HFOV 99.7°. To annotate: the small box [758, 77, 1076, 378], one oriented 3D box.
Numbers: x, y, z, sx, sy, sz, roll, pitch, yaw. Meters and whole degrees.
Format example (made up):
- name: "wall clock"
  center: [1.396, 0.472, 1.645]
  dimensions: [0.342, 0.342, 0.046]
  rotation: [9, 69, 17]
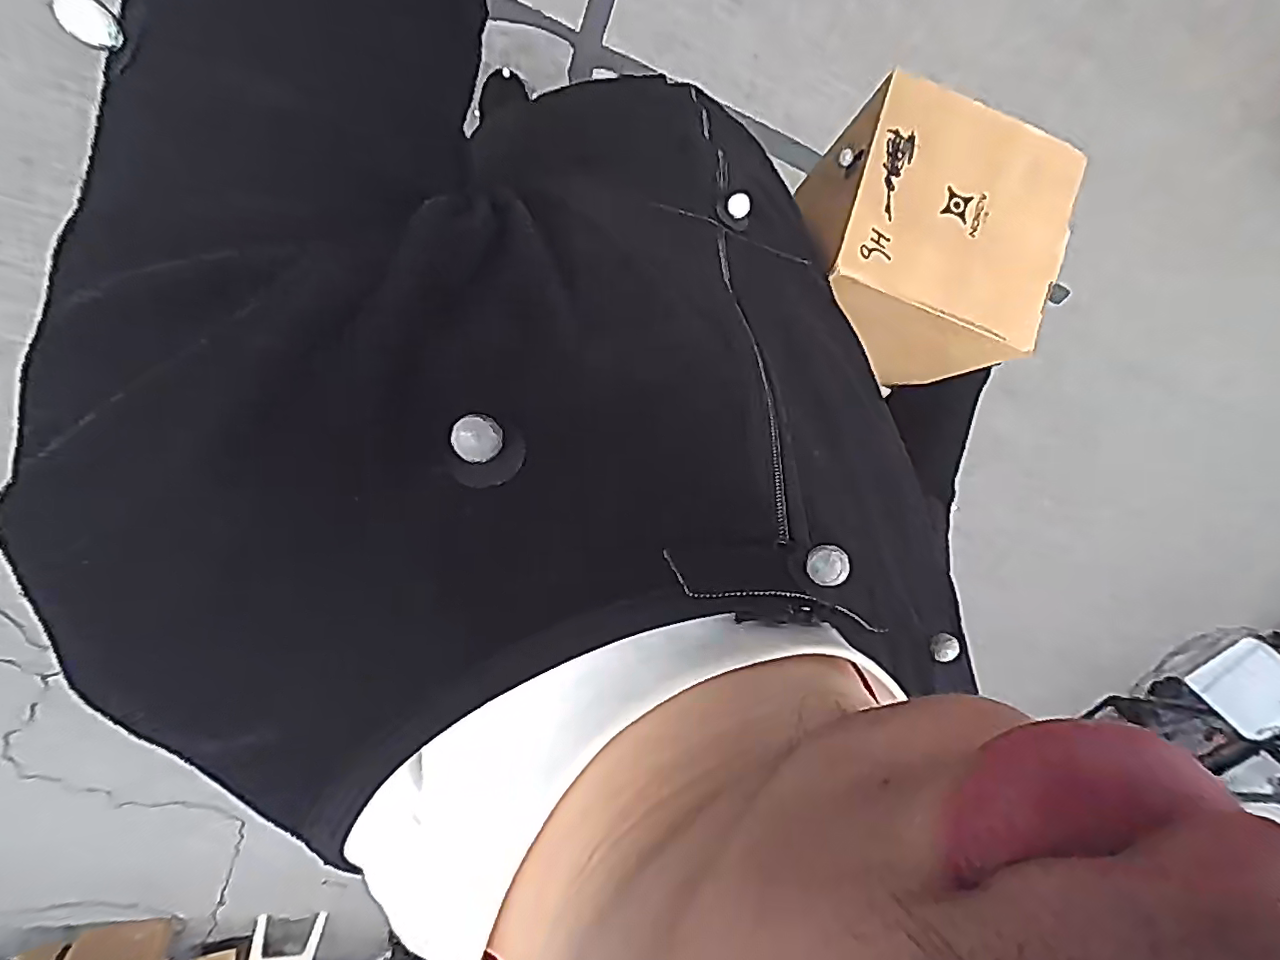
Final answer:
- name: "small box"
  center: [0.237, -0.206, 0.501]
  dimensions: [0.179, 0.176, 0.168]
  rotation: [18, 86, -8]
